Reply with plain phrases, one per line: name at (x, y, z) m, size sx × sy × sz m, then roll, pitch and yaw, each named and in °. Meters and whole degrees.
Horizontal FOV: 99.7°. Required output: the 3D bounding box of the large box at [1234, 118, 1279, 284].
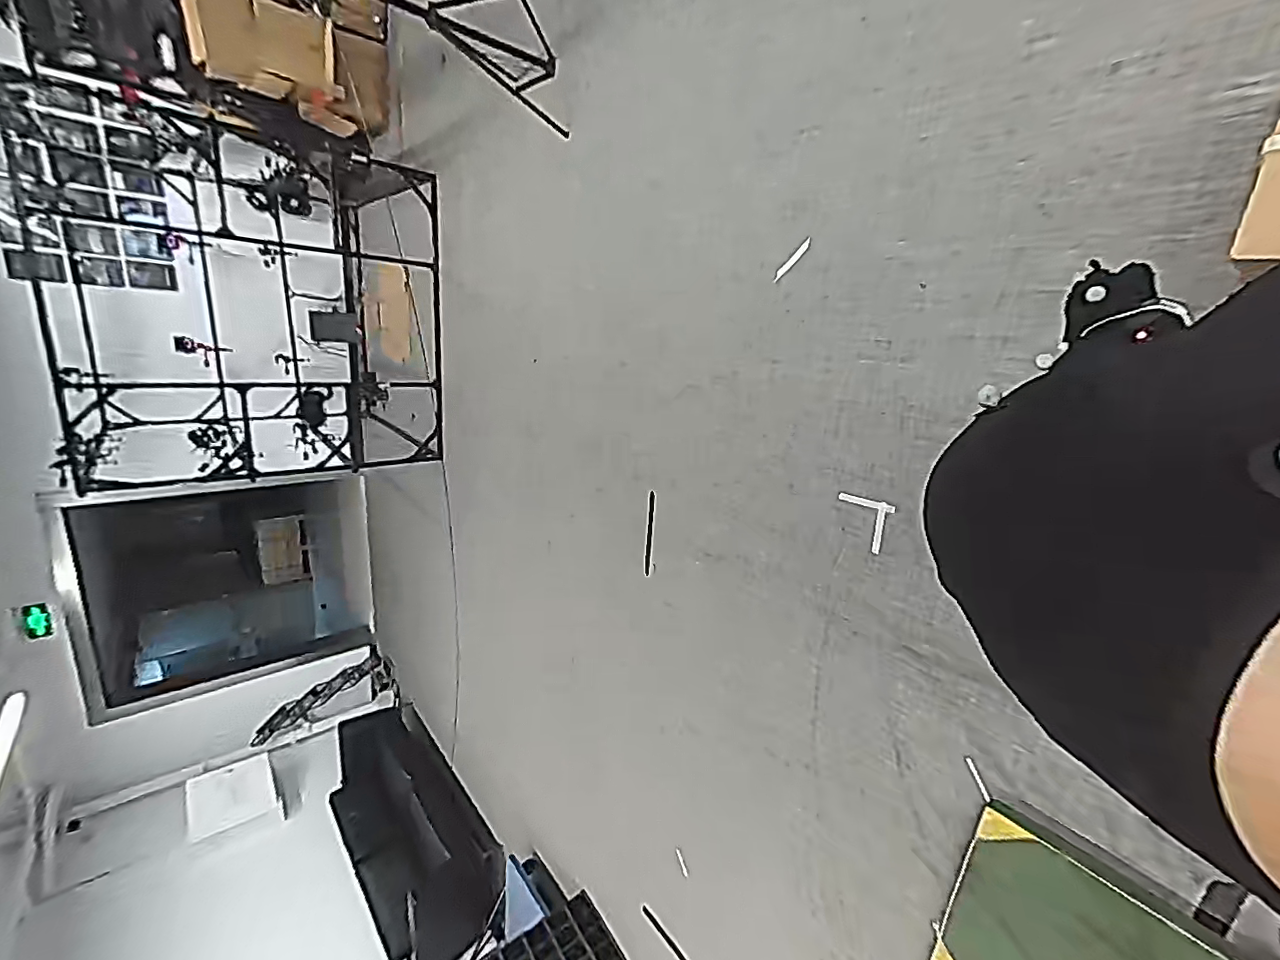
large box at (1.142, -0.445, 0.729) m, size 0.408 × 0.320 × 0.320 m, roll 23°, pitch 114°, yaw 45°
